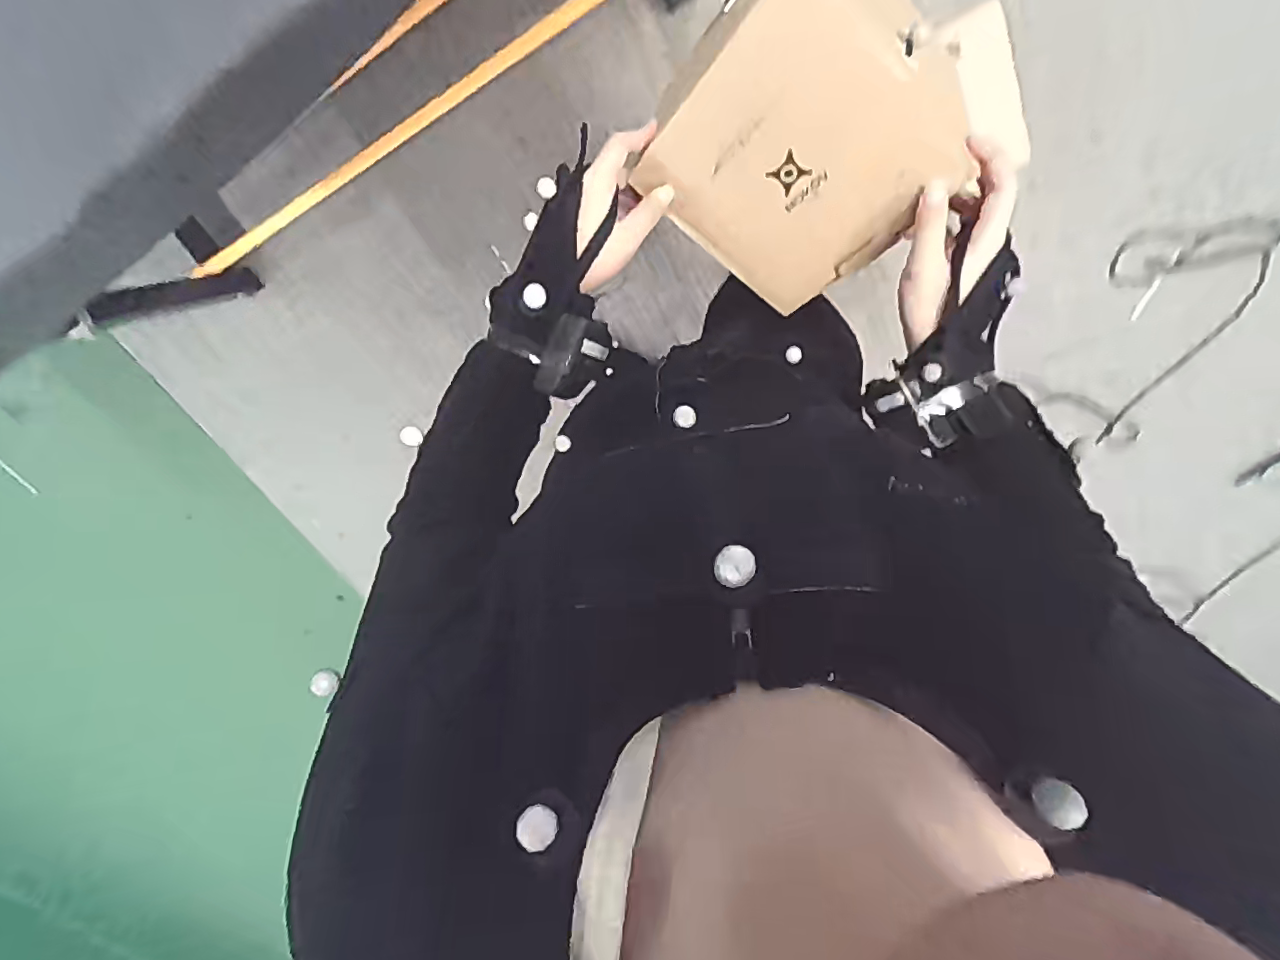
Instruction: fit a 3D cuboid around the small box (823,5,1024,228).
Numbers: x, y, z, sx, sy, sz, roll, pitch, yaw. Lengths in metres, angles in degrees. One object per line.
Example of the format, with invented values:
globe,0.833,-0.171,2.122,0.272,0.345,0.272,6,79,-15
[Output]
small box,0.364,-0.463,0.717,0.168,0.176,0.179,-24,114,14
